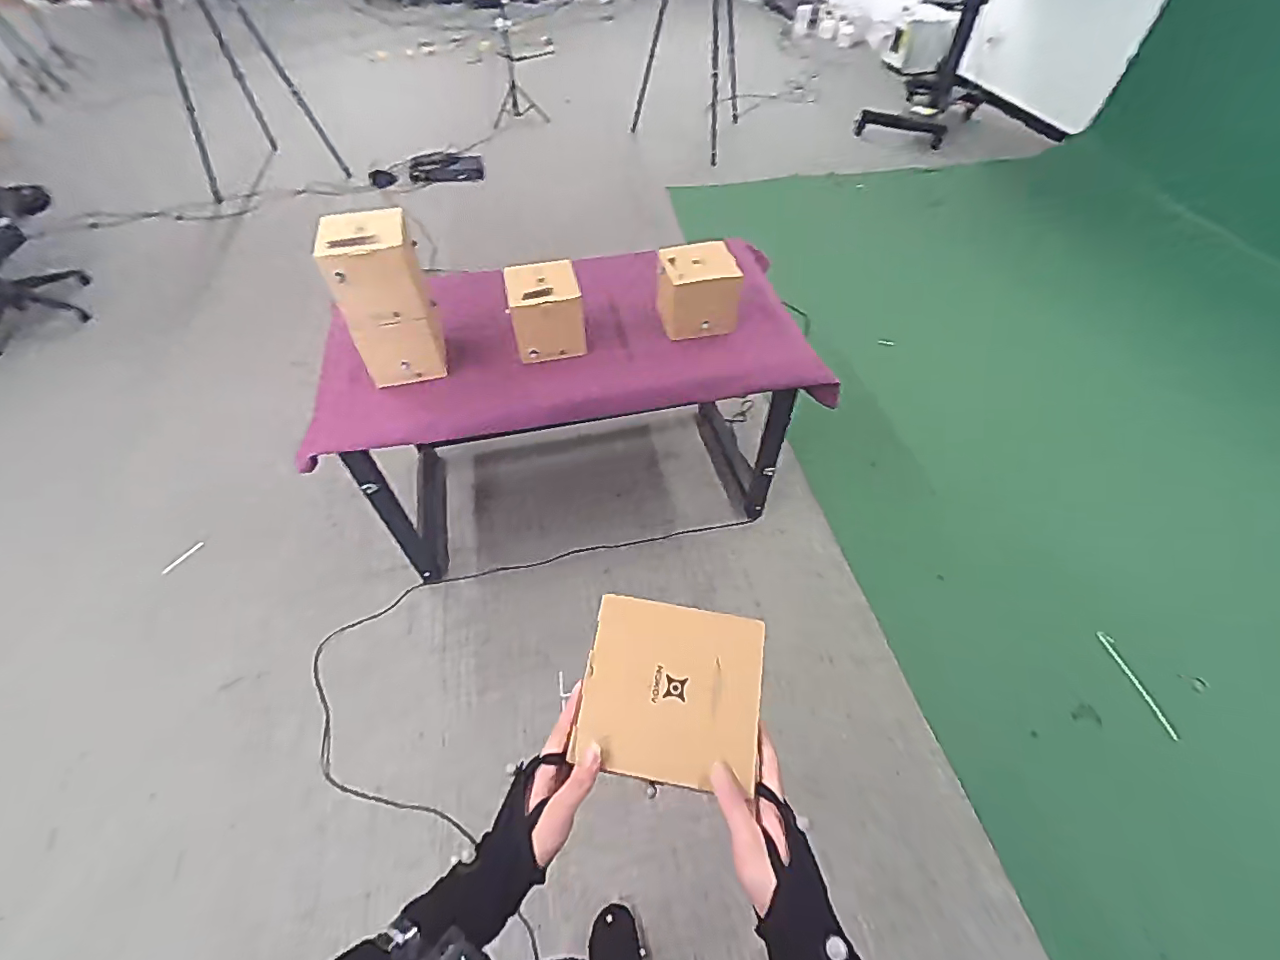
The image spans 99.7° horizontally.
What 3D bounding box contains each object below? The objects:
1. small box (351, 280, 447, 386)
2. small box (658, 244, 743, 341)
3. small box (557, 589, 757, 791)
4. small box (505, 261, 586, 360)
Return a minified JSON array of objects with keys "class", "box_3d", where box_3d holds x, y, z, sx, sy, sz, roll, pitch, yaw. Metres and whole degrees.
[{"class":"small box","box_3d":[-0.570,-0.352,1.299,0.168,0.176,0.179,-12,53,-9]},{"class":"small box","box_3d":[0.148,-0.485,1.405,0.179,0.176,0.168,-10,52,-7]},{"class":"small box","box_3d":[0.022,0.238,0.600,0.179,0.176,0.168,9,61,5]},{"class":"small box","box_3d":[-0.234,-0.418,1.353,0.168,0.176,0.179,-11,52,-8]}]
